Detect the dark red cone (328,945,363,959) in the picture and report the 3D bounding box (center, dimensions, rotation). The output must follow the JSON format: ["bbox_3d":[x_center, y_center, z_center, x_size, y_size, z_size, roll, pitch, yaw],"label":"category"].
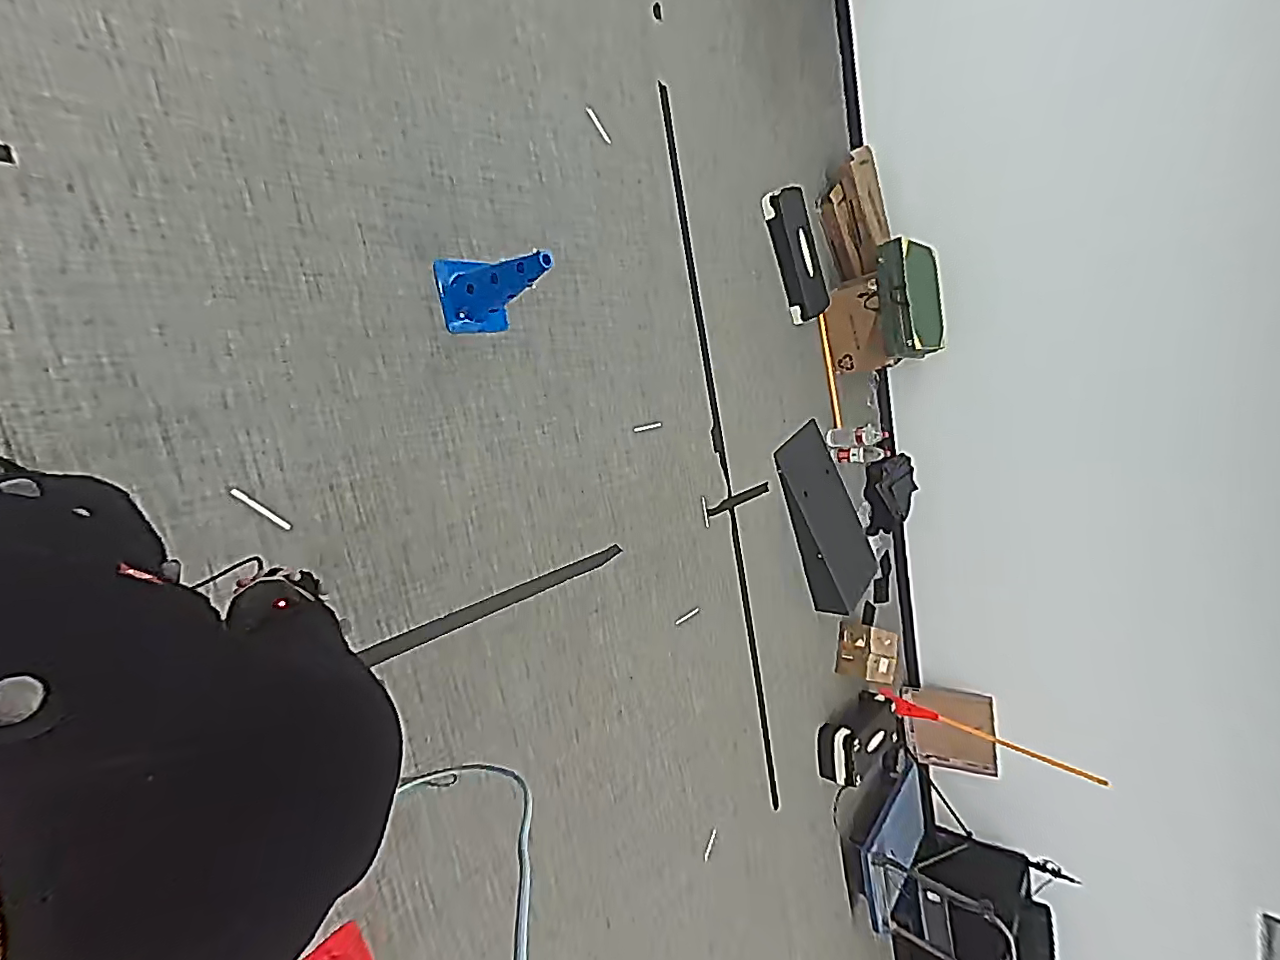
[{"bbox_3d":[-0.592,1.185,1.095,0.202,0.394,0.201,-28,108,-43],"label":"dark red cone"}]

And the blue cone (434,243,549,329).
[{"bbox_3d":[-0.362,-0.530,1.417,0.193,0.380,0.192,-17,100,-45],"label":"blue cone"}]
